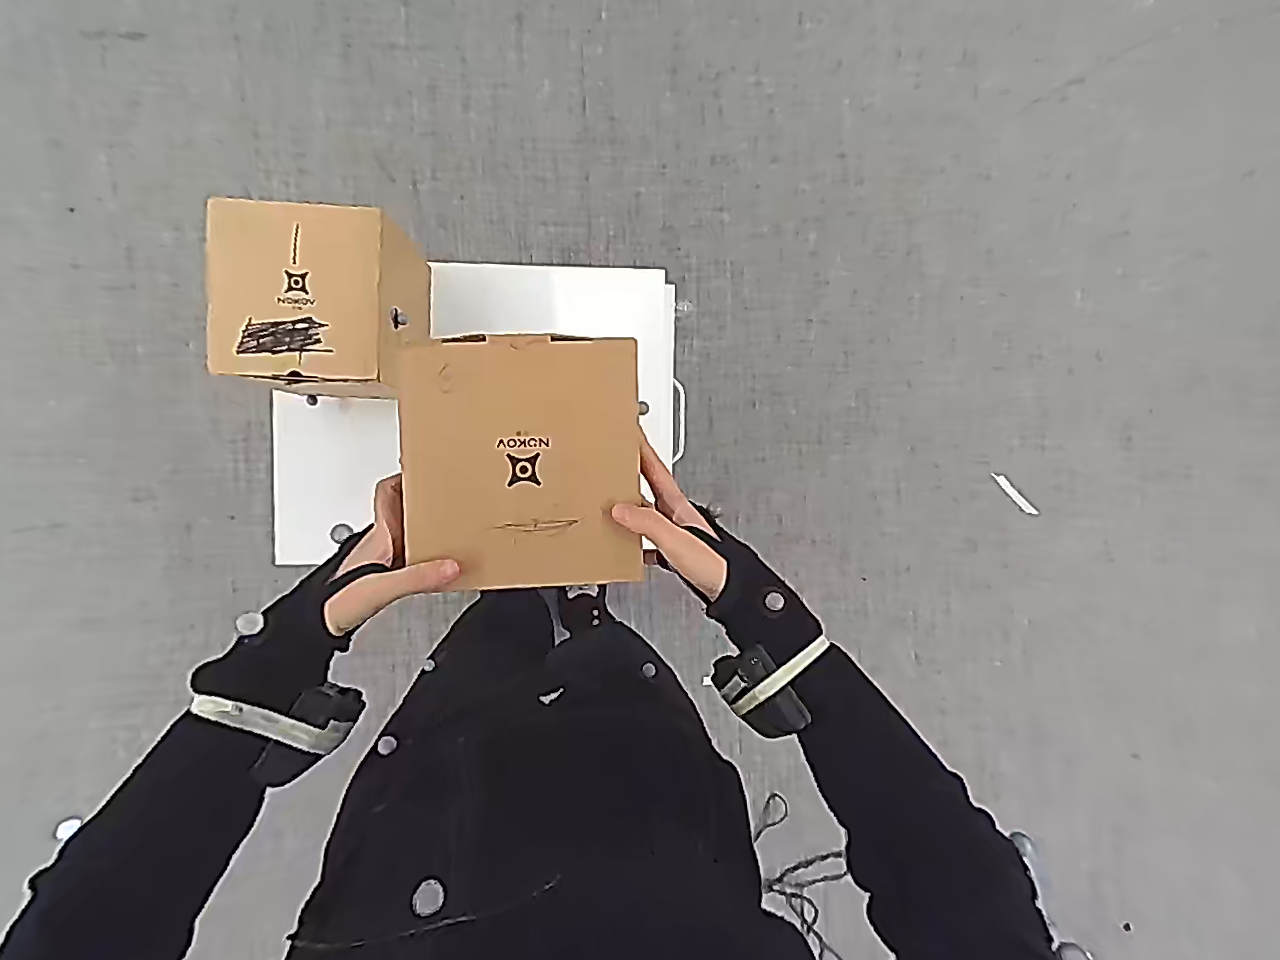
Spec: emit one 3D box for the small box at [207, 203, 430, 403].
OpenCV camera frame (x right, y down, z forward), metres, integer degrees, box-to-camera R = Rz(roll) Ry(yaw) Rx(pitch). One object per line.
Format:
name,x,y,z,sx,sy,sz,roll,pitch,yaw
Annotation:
small box,-0.348,-0.184,0.616,0.168,0.176,0.179,1,91,-5

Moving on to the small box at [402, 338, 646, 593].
small box,-0.086,-0.015,0.458,0.168,0.176,0.179,-3,94,-4
